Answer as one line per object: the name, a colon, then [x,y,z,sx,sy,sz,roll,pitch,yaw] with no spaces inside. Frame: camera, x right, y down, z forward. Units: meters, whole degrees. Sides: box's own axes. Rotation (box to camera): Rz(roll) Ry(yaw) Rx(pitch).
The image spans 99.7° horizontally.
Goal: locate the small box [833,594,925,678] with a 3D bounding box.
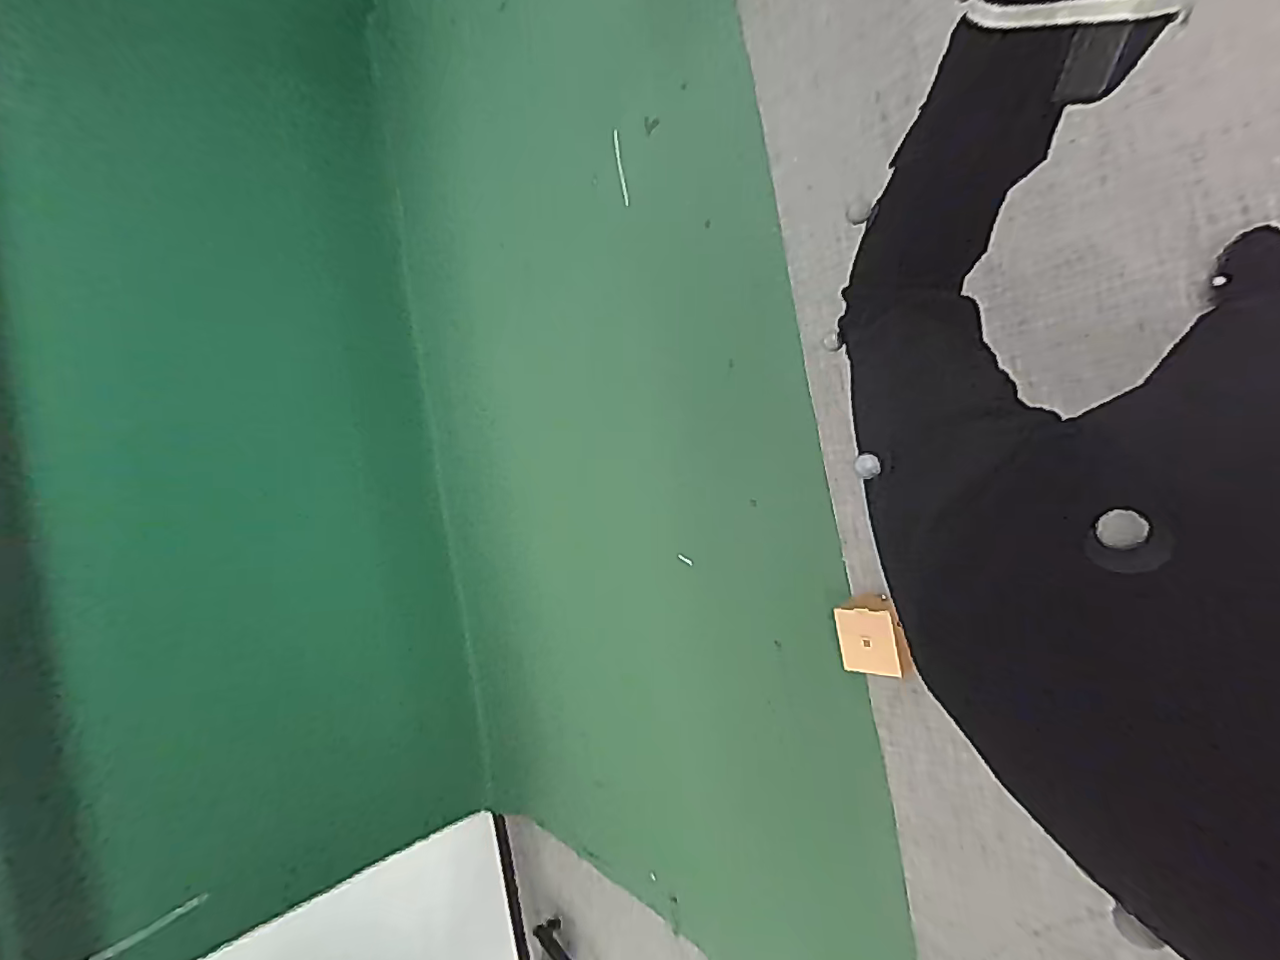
small box: [0.664,0.425,1.496,0.168,0.176,0.179,-12,86,49]
